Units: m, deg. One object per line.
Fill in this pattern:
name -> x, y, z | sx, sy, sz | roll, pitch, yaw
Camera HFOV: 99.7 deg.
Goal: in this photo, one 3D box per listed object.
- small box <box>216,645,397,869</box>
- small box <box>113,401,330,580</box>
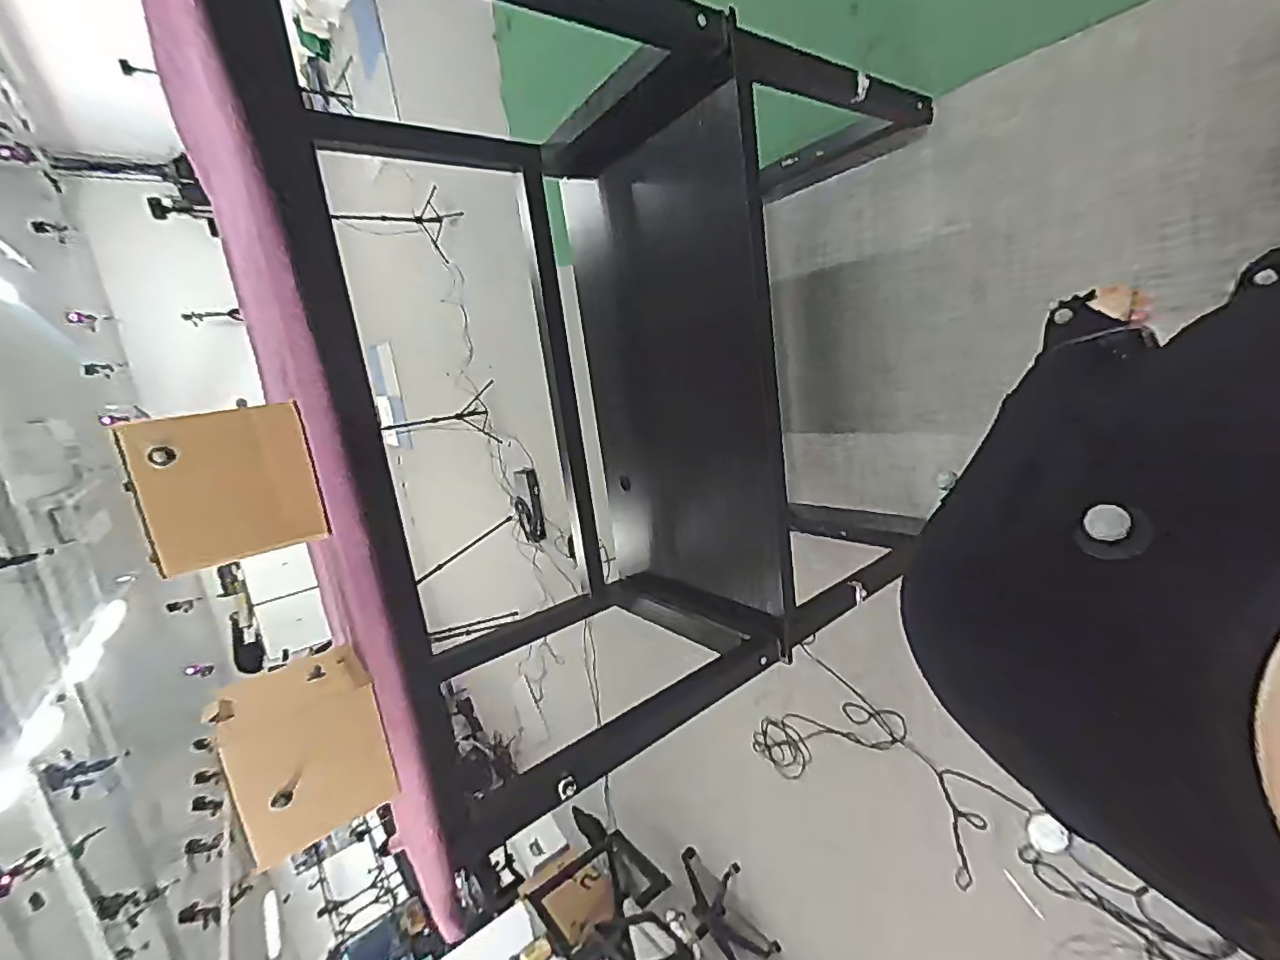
small box -> -0.447, 0.356, 0.734 | 0.168, 0.176, 0.179 | 6, 108, 52
small box -> -0.507, 0.002, 0.680 | 0.168, 0.176, 0.179 | 8, 109, 54
